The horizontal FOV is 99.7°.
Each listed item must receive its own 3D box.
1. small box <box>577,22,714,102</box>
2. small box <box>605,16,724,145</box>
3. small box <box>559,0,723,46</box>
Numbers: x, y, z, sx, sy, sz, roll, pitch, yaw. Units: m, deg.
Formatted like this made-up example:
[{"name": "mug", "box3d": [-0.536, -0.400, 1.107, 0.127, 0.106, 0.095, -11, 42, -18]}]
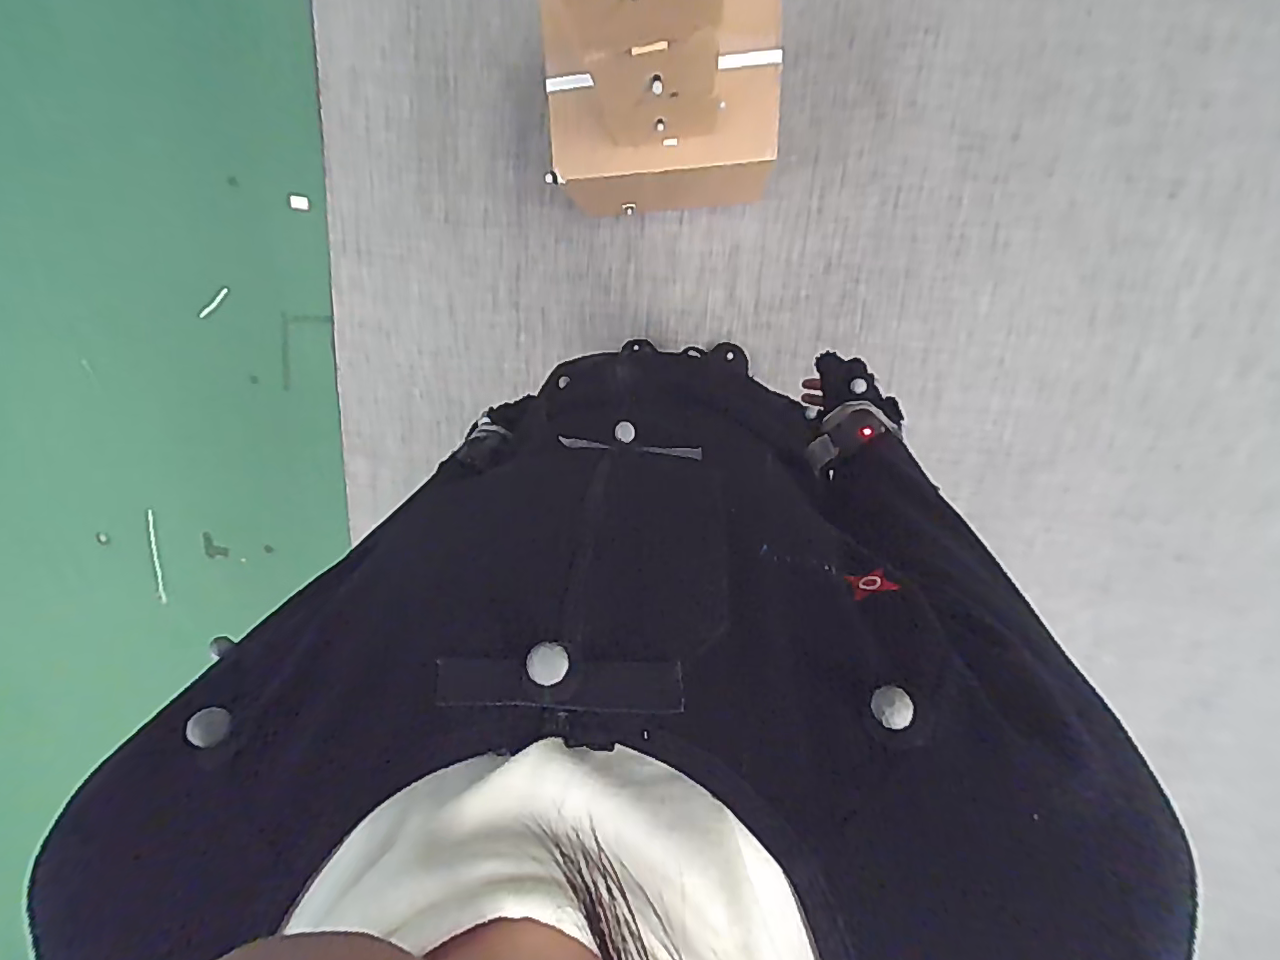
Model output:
[{"name": "small box", "box3d": [0.008, -0.617, 0.694, 0.168, 0.176, 0.179, -4, 105, 8]}, {"name": "small box", "box3d": [0.033, -0.655, 0.851, 0.179, 0.176, 0.168, -6, 105, 8]}, {"name": "small box", "box3d": [-0.007, -0.572, 0.538, 0.179, 0.176, 0.168, -3, 106, 7]}]
